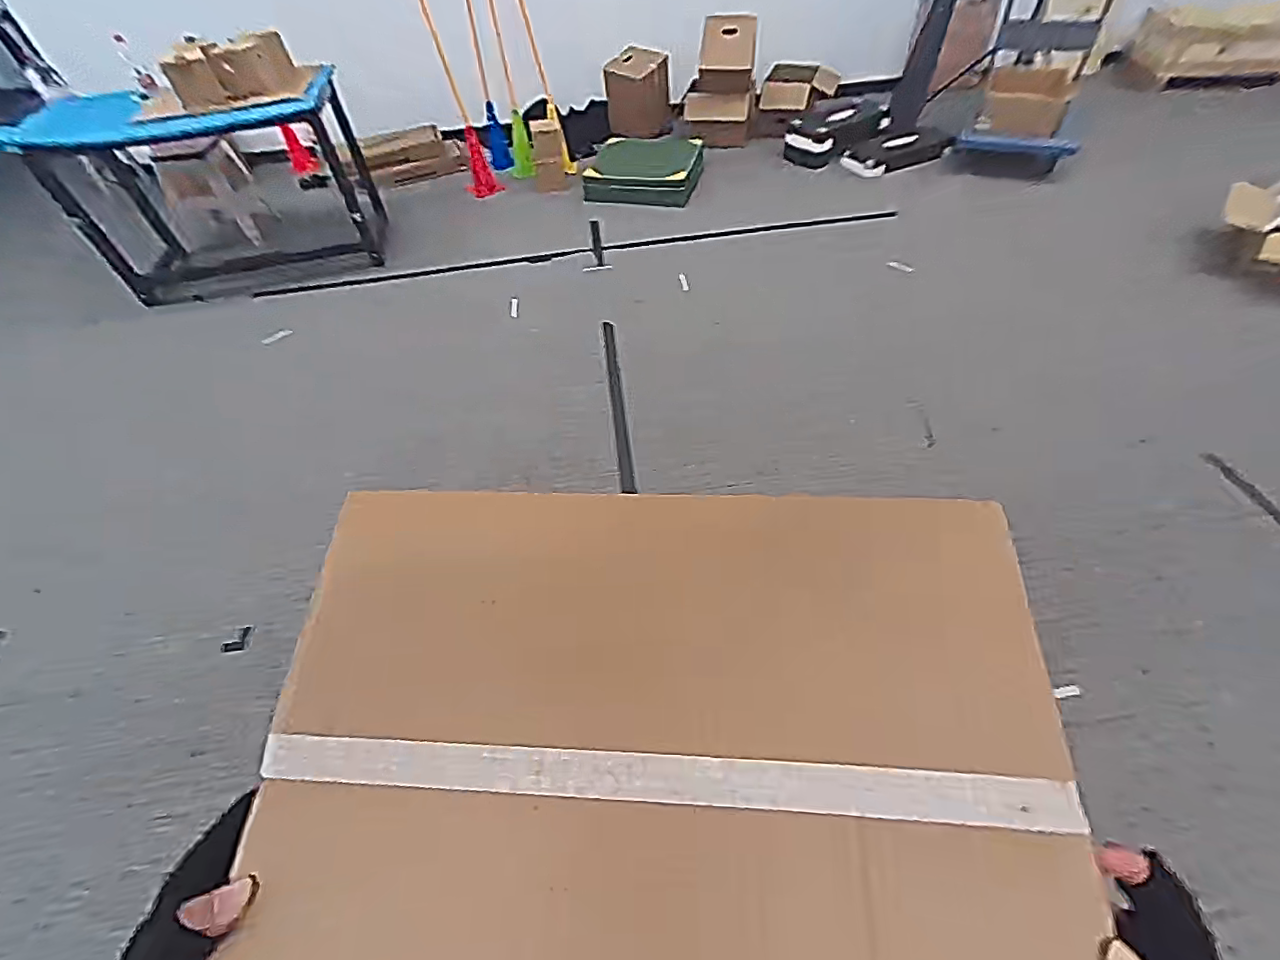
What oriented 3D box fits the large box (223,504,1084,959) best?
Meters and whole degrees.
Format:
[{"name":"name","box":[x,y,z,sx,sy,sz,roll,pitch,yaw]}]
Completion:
[{"name":"large box","box":[0.011,0.220,0.414,0.408,0.320,0.320,0,64,6]}]
